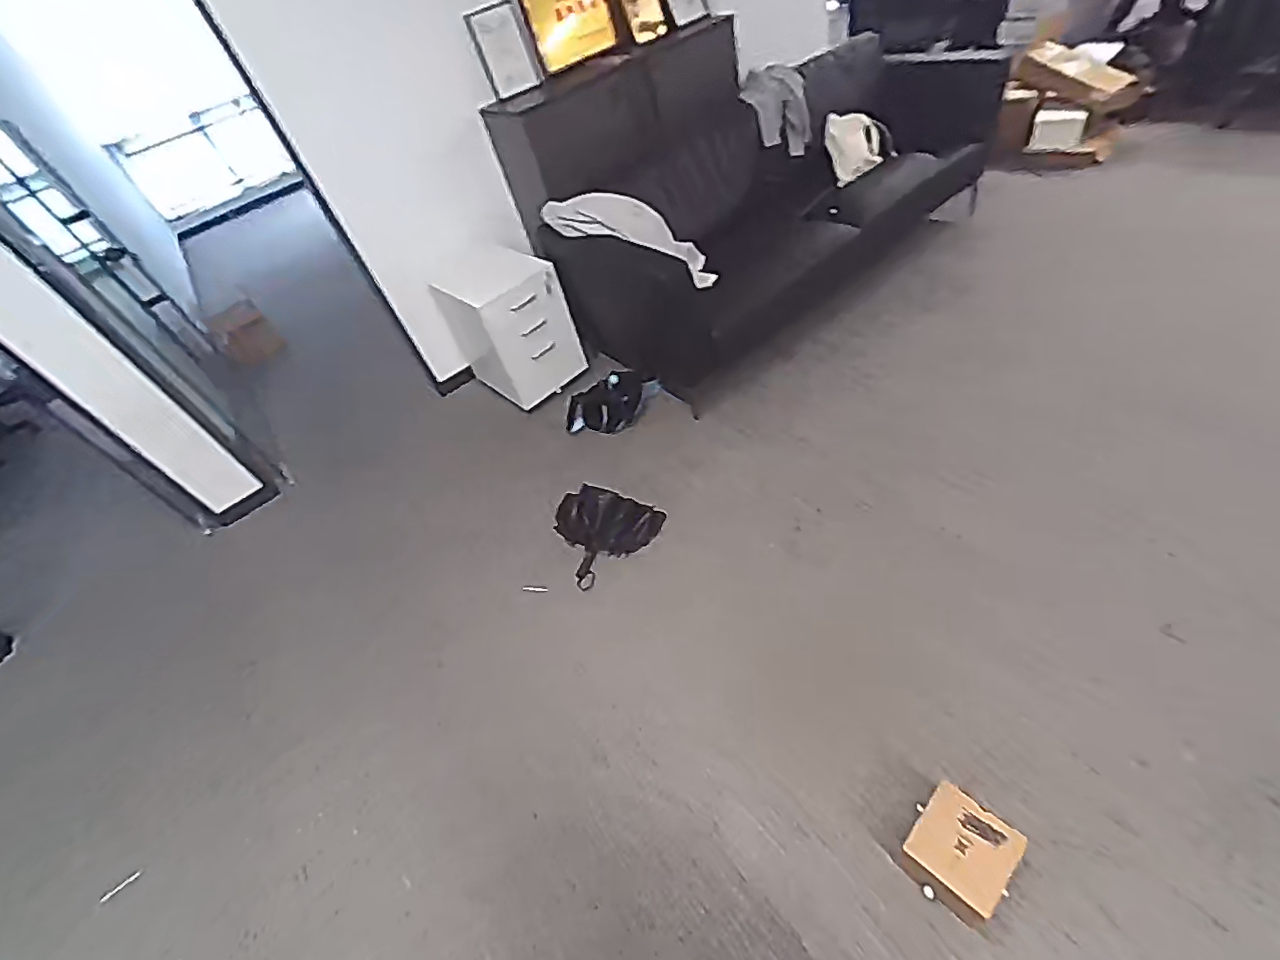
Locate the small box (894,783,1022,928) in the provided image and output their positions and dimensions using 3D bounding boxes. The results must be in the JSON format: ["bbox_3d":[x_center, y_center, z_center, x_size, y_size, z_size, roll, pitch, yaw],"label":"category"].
[{"bbox_3d":[0.653,0.784,1.130,0.179,0.176,0.168,-42,49,-21],"label":"small box"}]
